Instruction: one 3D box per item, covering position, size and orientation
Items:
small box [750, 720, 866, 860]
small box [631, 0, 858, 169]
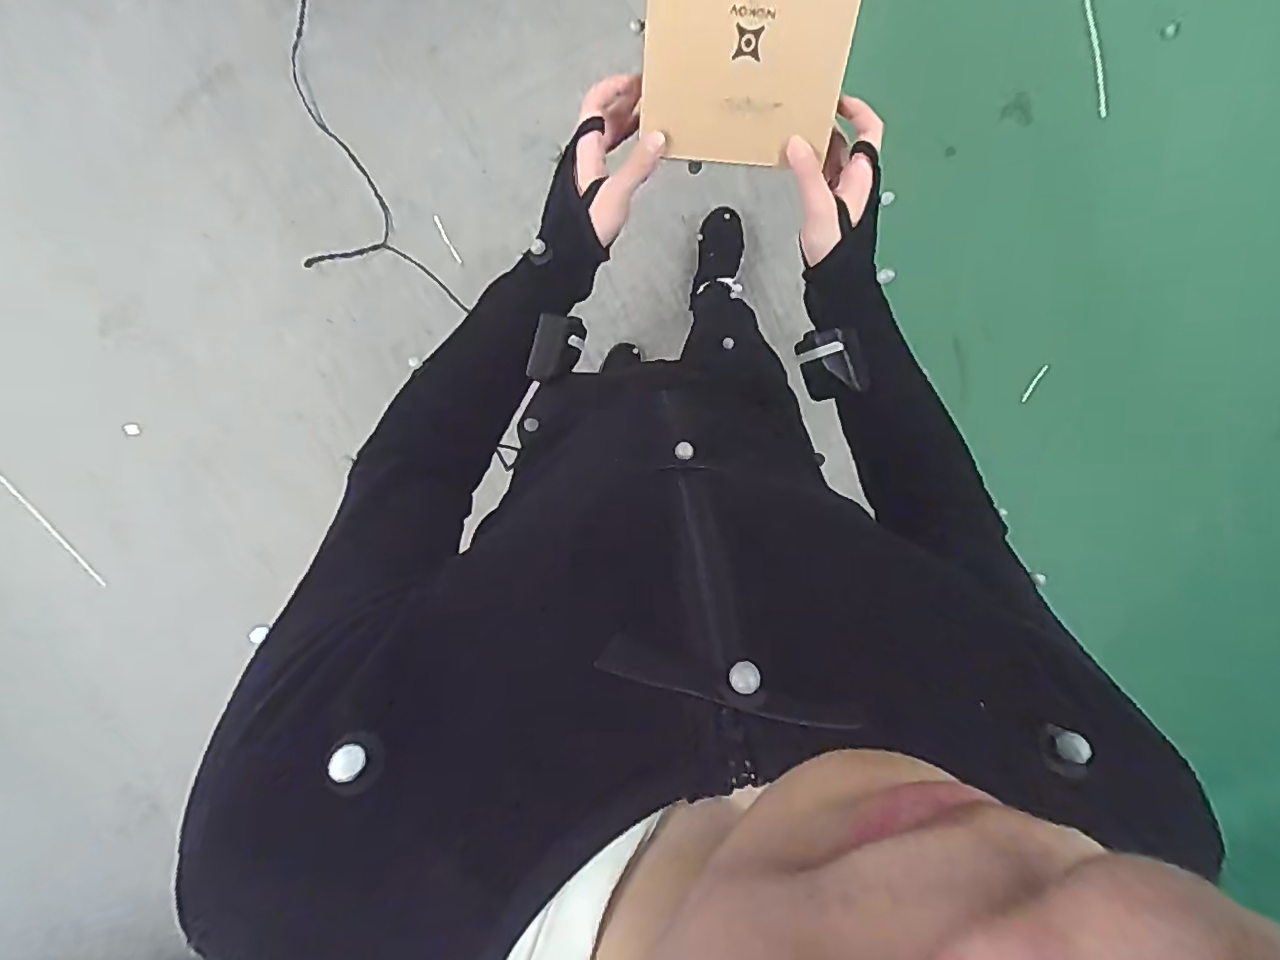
[{"bbox_3d":[0.355,0.662,1.167,0.168,0.176,0.179,-23,107,5],"label":"small box"},{"bbox_3d":[0.080,-0.392,0.489,0.168,0.176,0.179,3,123,-4],"label":"small box"}]
